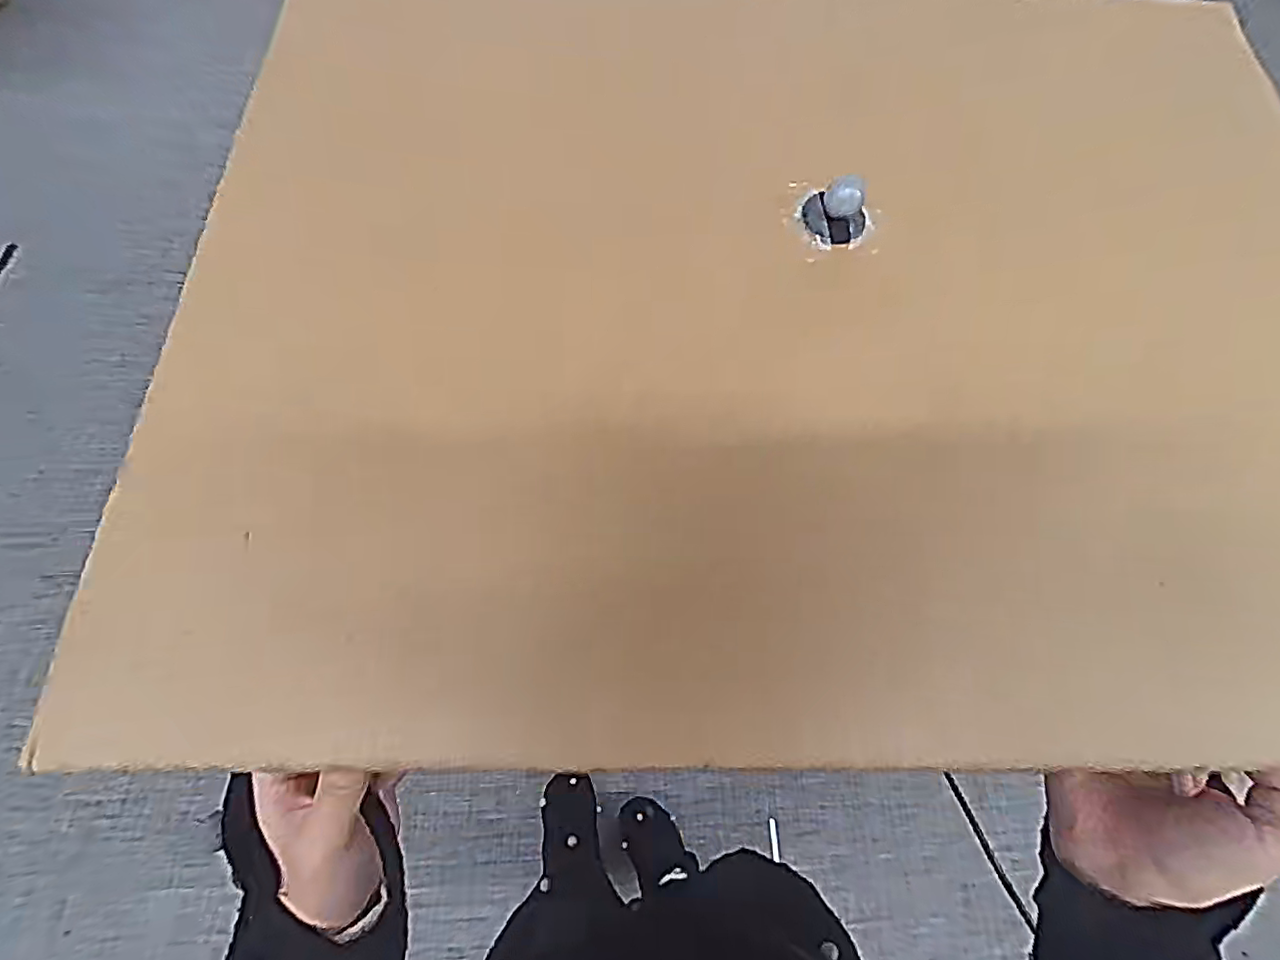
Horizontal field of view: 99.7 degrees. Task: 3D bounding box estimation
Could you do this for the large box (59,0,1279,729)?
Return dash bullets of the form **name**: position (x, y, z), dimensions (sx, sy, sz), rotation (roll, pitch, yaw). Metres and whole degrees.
- **large box**: position (0.050, -0.035, 0.321), dimensions (0.408, 0.320, 0.320), rotation (1, 72, -2)
